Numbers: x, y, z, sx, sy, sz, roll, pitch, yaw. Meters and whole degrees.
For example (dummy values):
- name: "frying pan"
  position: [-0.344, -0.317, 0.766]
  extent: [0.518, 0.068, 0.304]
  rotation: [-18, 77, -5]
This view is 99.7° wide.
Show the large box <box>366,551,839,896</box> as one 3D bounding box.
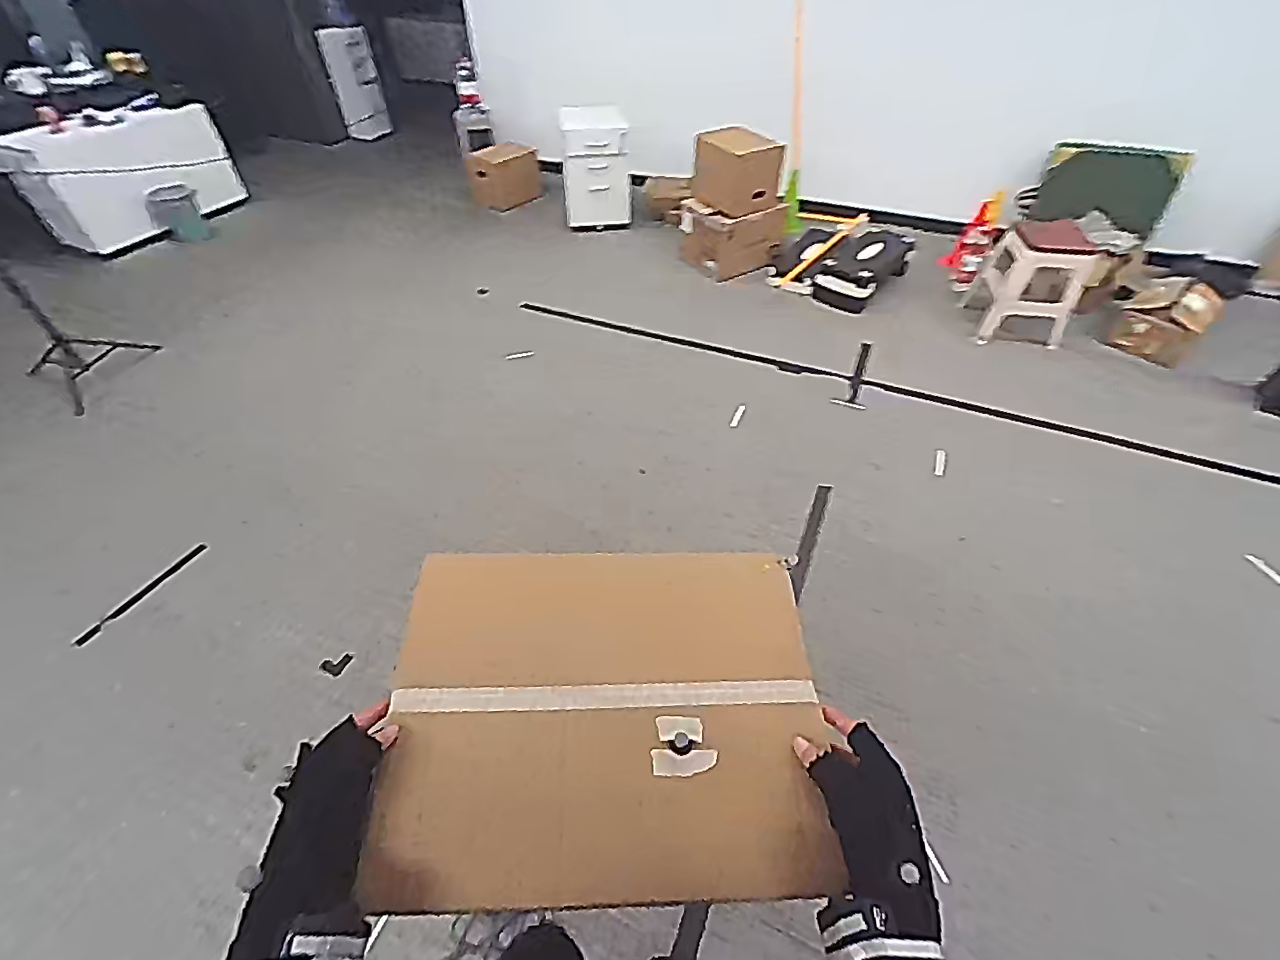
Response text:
- name: "large box"
  position: [-0.041, 0.298, 0.653]
  extent: [0.408, 0.320, 0.320]
  rotation: [0, 53, -4]
